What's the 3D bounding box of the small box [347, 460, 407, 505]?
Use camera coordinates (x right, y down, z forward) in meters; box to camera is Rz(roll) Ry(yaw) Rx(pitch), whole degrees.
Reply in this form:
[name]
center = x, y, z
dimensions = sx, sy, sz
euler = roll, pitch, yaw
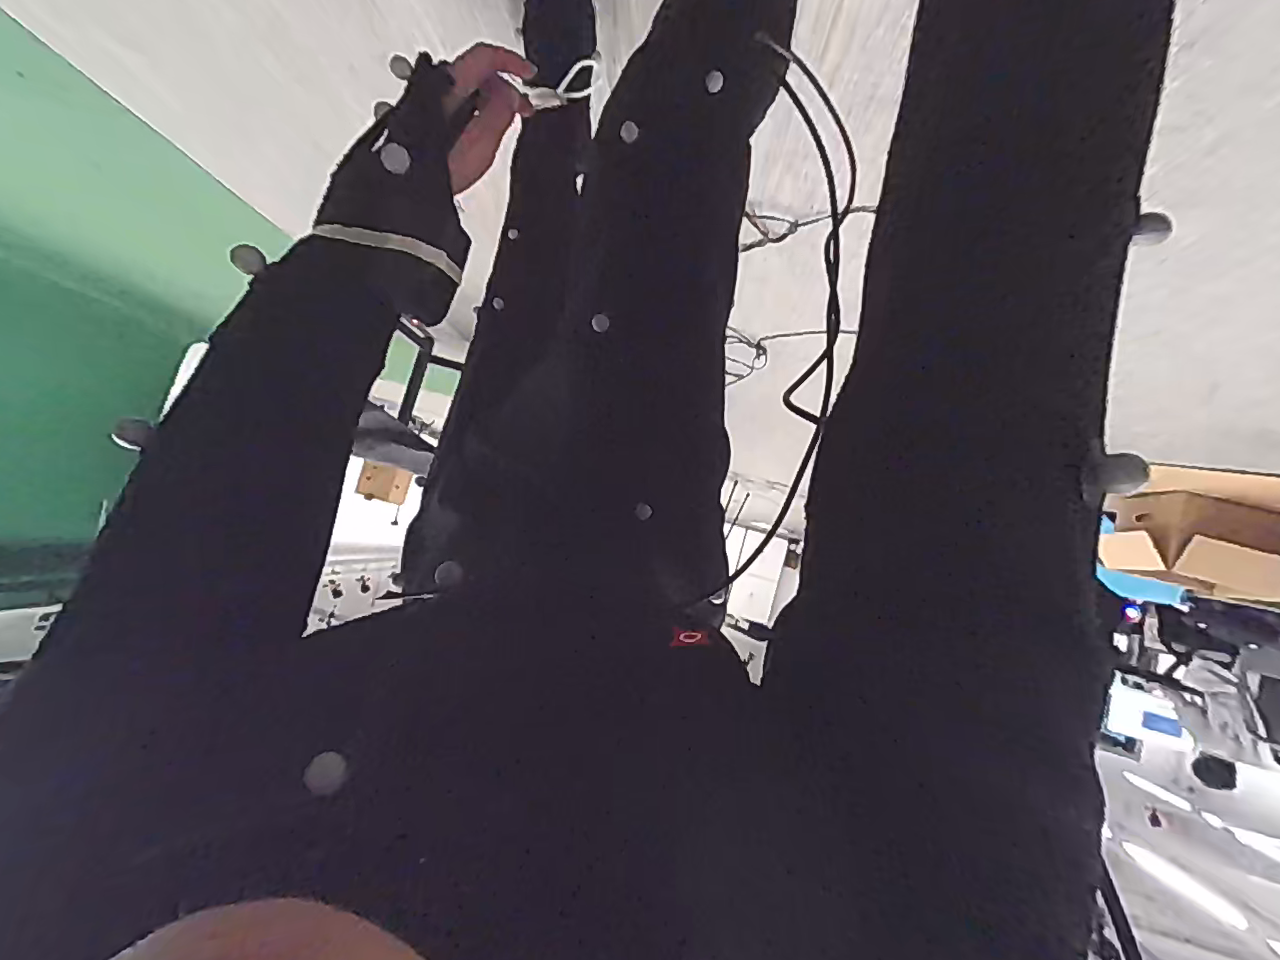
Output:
[small box]
center = -1.212, 0.011, 2.498
dimensions = 0.168, 0.176, 0.179
euler = 16, 176, 2
